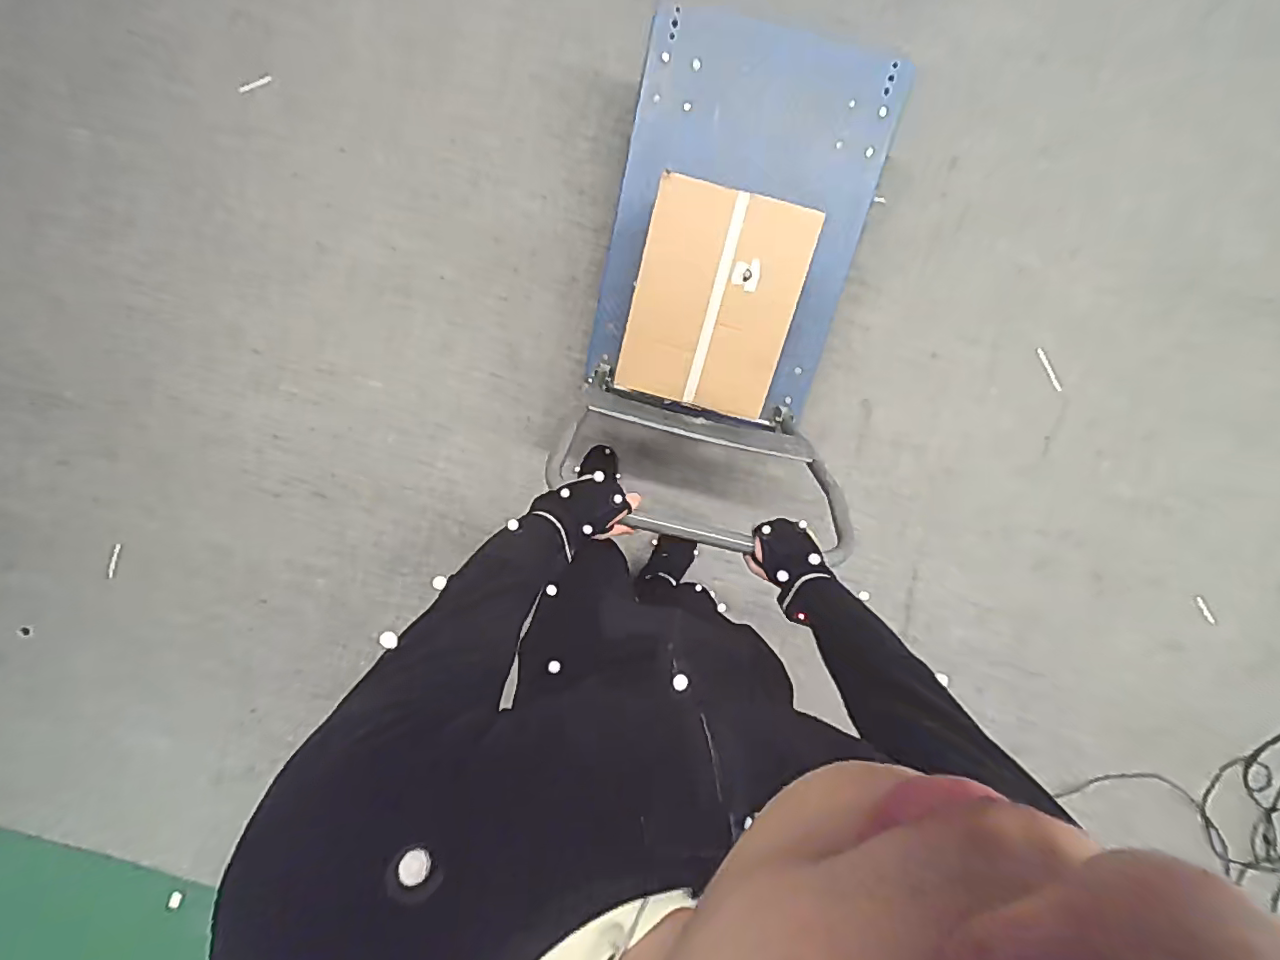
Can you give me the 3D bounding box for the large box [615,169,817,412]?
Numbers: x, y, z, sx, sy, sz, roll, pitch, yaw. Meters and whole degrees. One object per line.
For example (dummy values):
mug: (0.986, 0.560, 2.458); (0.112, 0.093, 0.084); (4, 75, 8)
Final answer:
large box: (0.145, -0.401, 1.194); (0.320, 0.320, 0.408); (13, 109, -2)
